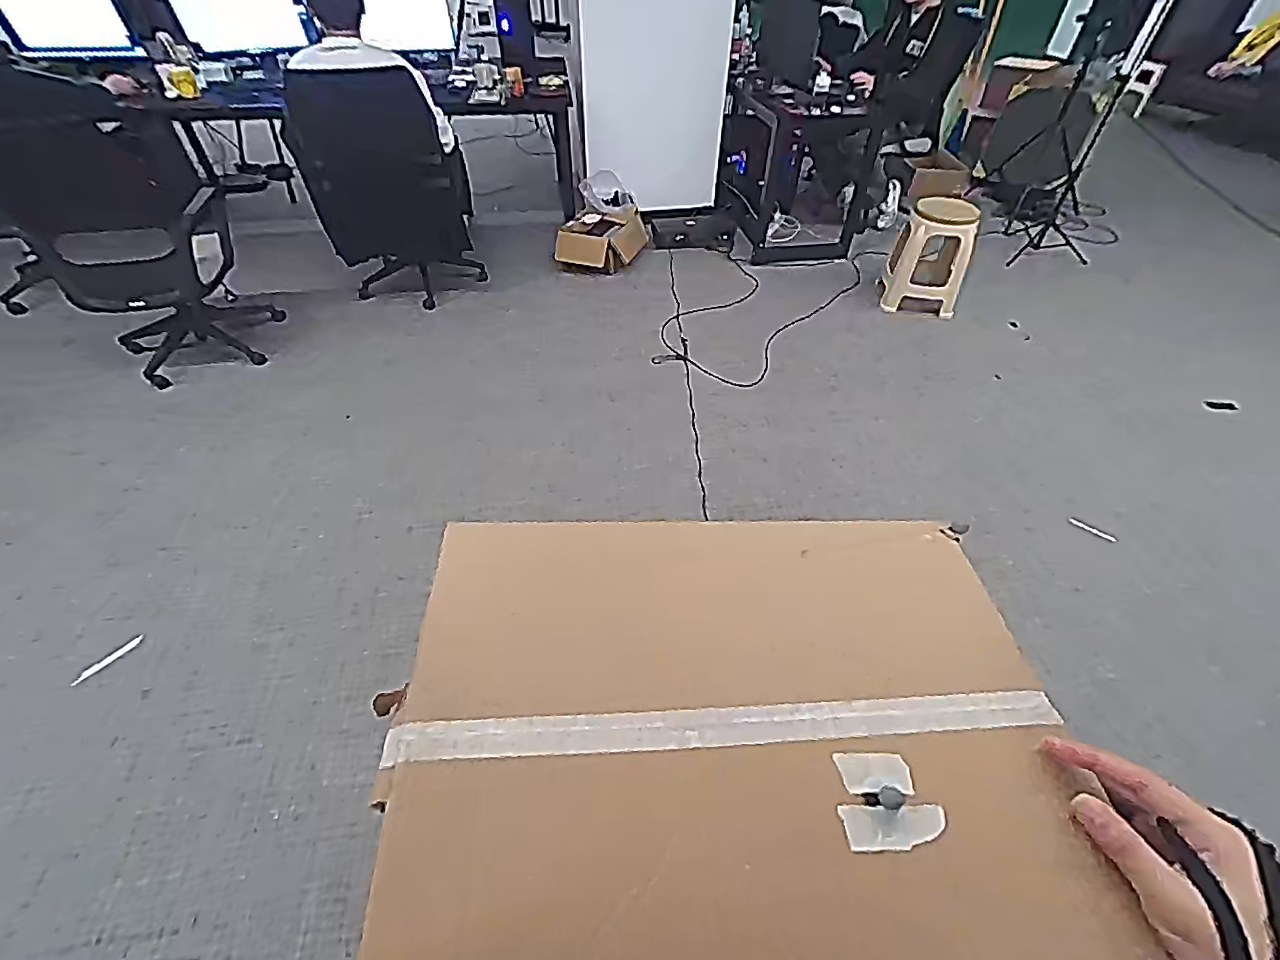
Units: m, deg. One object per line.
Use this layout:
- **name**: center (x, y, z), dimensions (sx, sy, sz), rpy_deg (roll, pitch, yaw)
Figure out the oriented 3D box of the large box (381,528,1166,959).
- **large box**: center (0.049, 0.255, 0.449), dimensions (0.408, 0.320, 0.320), rpy_deg (0, 48, -7)
